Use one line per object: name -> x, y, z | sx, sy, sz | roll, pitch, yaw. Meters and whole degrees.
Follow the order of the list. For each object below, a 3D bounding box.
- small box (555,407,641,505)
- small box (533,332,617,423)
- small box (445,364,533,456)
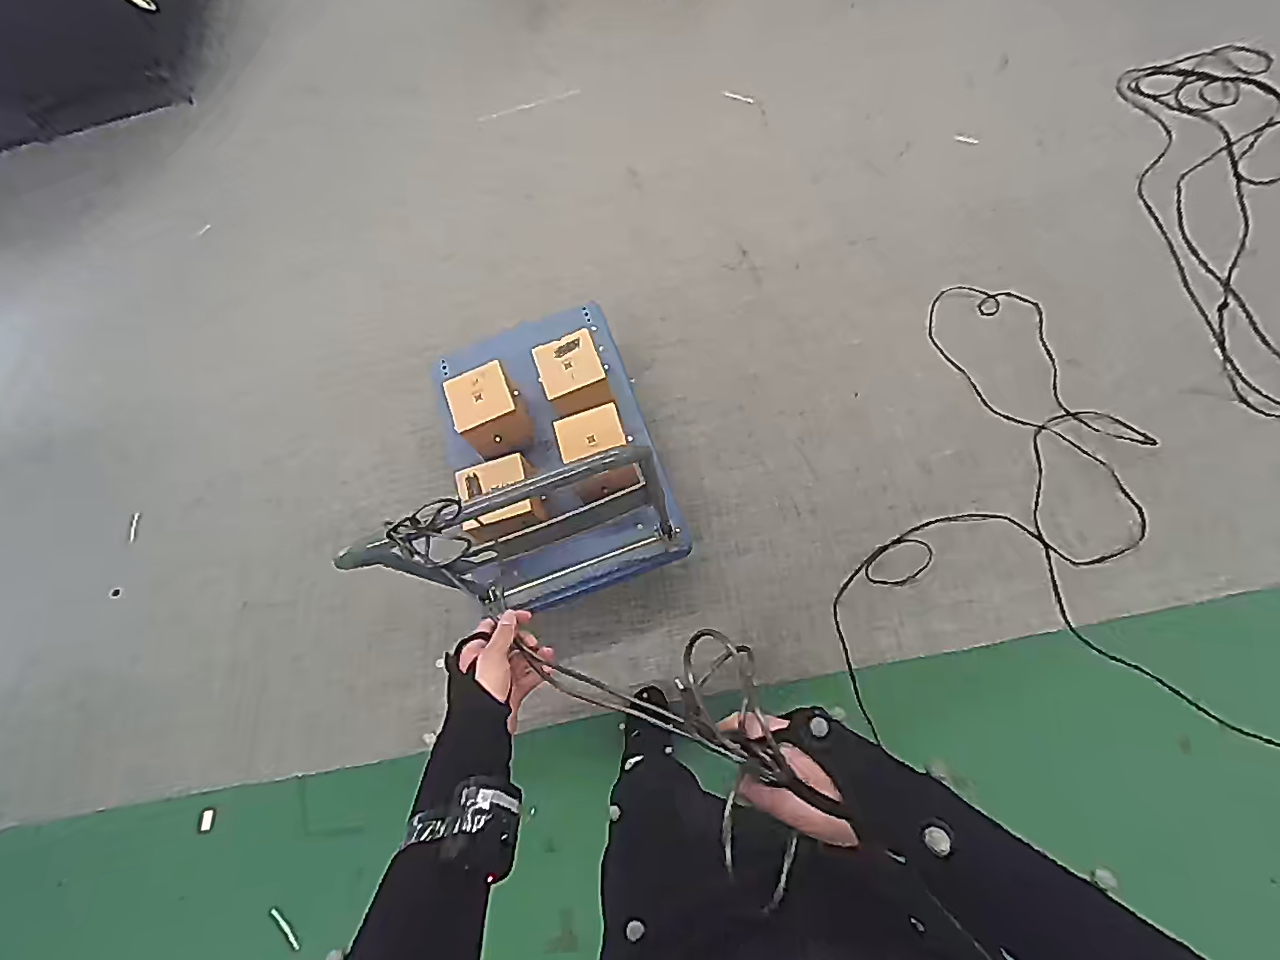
small box -> -0.107, -0.059, 1.417 | 0.168, 0.176, 0.179 | -19, 67, 2
small box -> -0.177, -0.273, 1.511 | 0.168, 0.176, 0.179 | -22, 67, 1
small box -> -0.418, -0.185, 1.517 | 0.168, 0.176, 0.179 | -23, 66, -1
